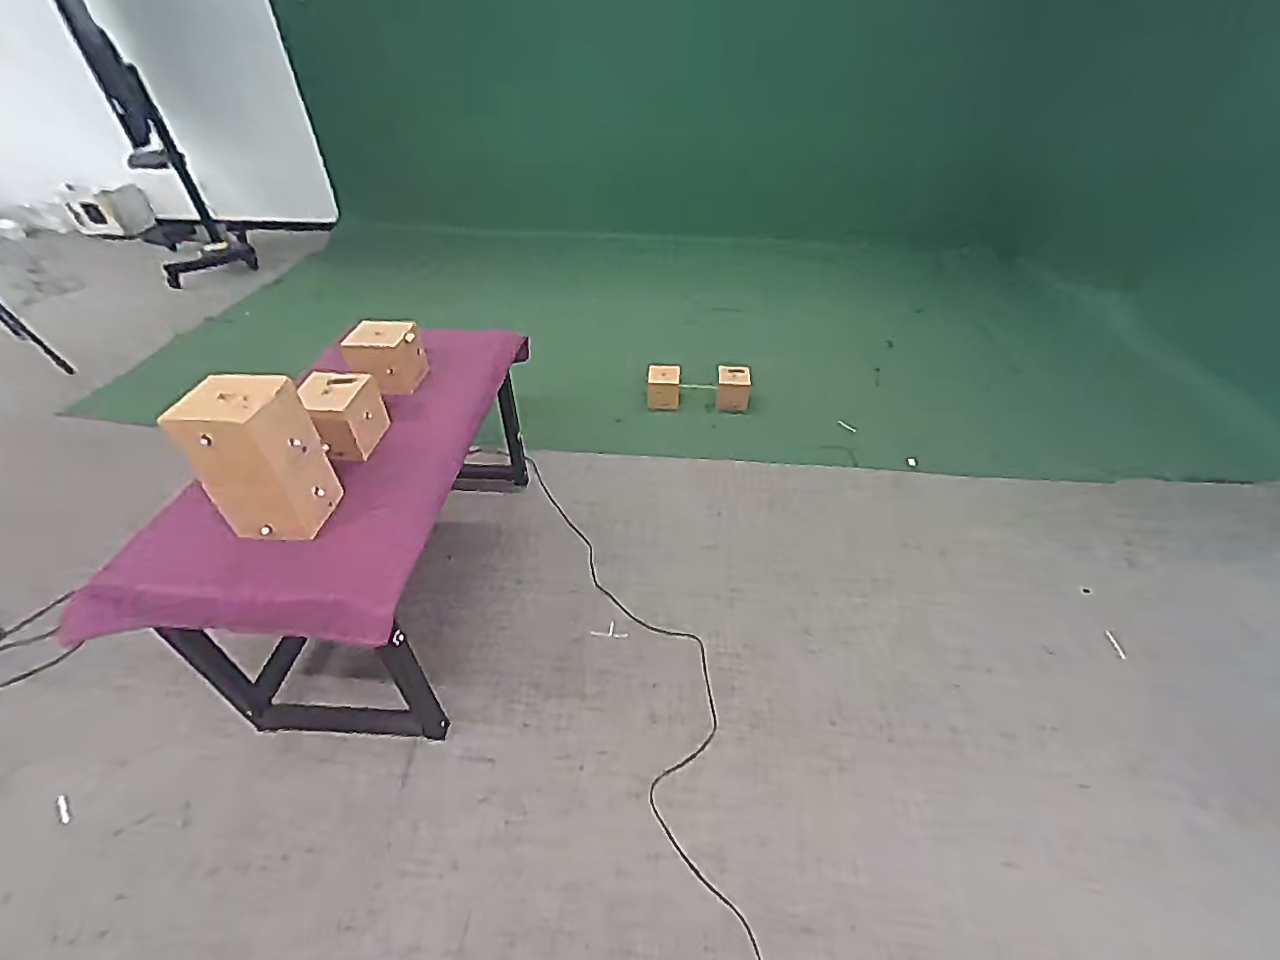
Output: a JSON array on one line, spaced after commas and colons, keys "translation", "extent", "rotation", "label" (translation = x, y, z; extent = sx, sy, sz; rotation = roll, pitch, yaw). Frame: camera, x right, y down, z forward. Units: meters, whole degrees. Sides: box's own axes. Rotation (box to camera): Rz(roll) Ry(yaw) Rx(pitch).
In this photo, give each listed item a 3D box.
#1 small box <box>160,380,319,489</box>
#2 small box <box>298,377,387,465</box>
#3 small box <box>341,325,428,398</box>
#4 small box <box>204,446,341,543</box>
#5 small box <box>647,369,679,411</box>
[{"translation": [-0.824, -0.095, 1.134], "extent": [0.179, 0.176, 0.168], "rotation": [2, 42, 1], "label": "small box"}, {"translation": [-0.808, -0.161, 1.460], "extent": [0.168, 0.176, 0.179], "rotation": [2, 42, 2], "label": "small box"}, {"translation": [-0.792, -0.371, 1.701], "extent": [0.179, 0.176, 0.168], "rotation": [2, 41, 3], "label": "small box"}, {"translation": [-0.827, 0.031, 1.242], "extent": [0.179, 0.176, 0.168], "rotation": [2, 41, 1], "label": "small box"}, {"translation": [0.127, -0.488, 2.928], "extent": [0.168, 0.176, 0.179], "rotation": [2, 41, 3], "label": "small box"}]
